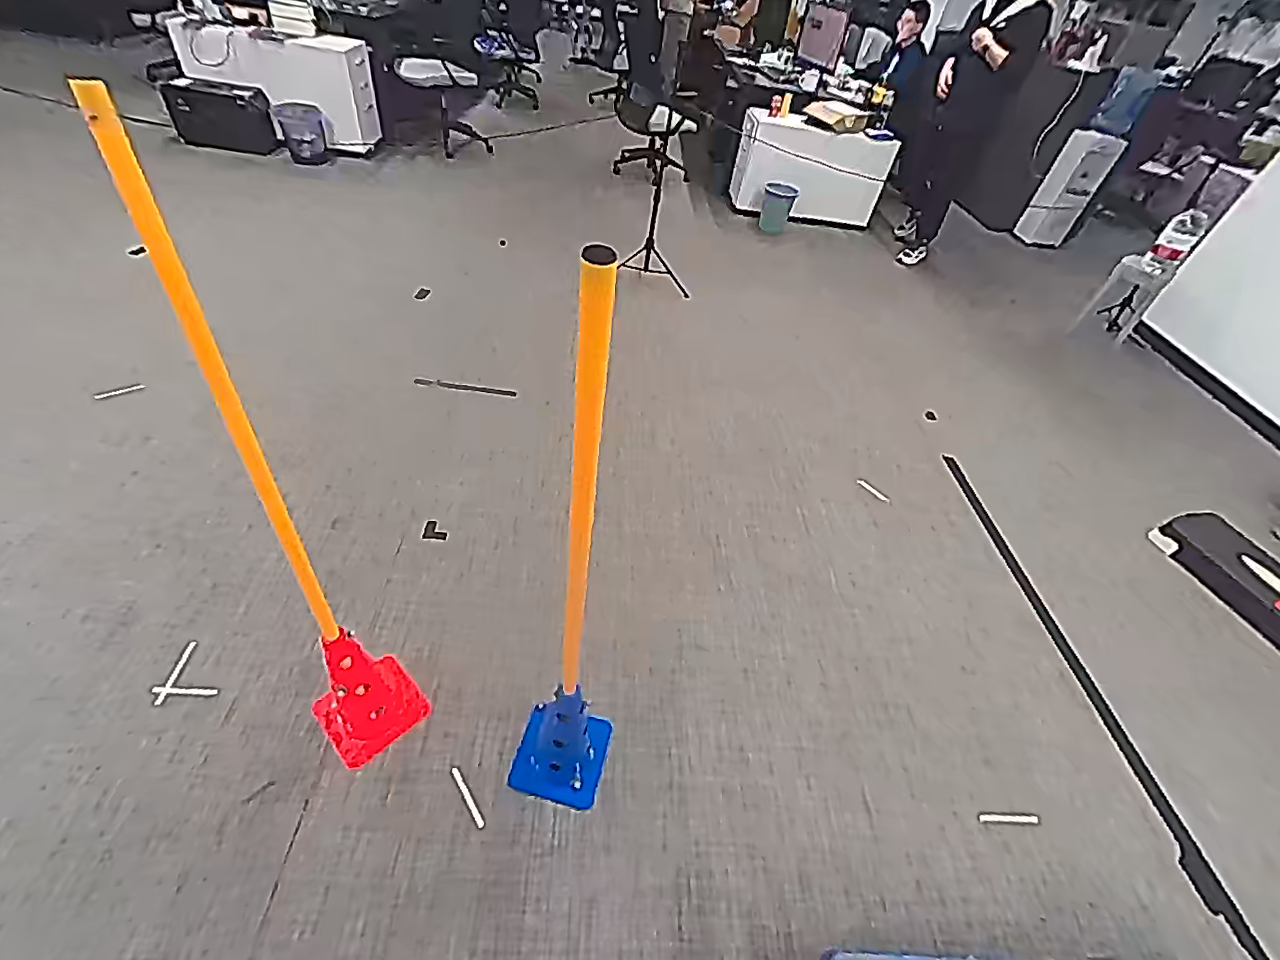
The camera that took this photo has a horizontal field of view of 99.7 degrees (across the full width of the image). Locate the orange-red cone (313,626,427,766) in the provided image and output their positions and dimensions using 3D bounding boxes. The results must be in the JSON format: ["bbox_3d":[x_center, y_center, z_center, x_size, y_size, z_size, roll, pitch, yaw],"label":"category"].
[{"bbox_3d":[-0.598,0.407,1.127,0.198,0.360,0.199,-32,60,-34],"label":"orange-red cone"}]

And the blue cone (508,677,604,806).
[{"bbox_3d":[-0.167,0.512,1.124,0.192,0.380,0.193,15,45,6],"label":"blue cone"}]
